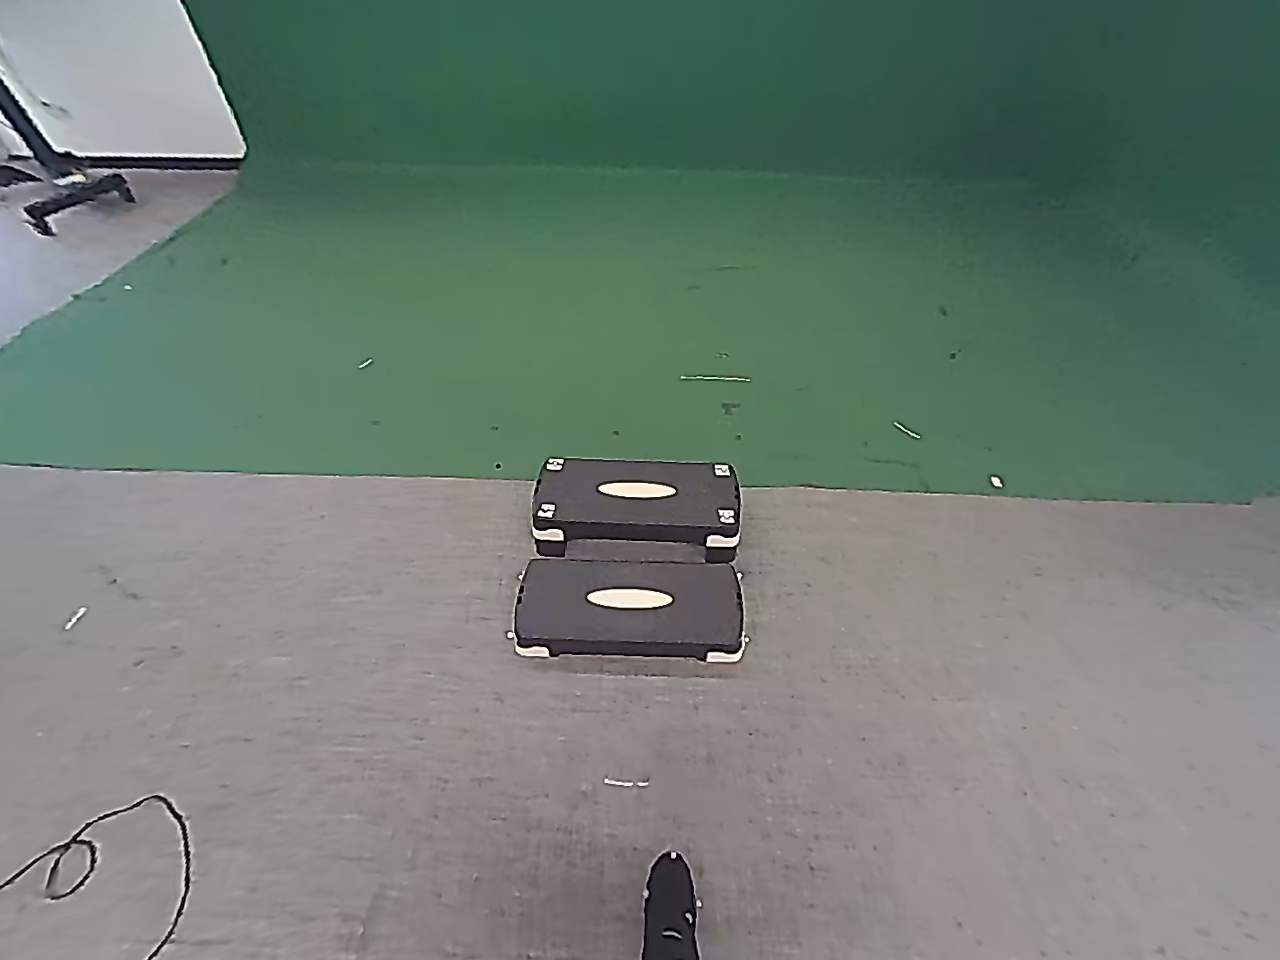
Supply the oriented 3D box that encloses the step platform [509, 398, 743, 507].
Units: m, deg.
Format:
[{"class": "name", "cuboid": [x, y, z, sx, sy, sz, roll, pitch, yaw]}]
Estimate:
[{"class": "step platform", "cuboid": [-0.039, -0.081, 1.667, 0.684, 0.204, 0.286, 1, 49, 1]}]
